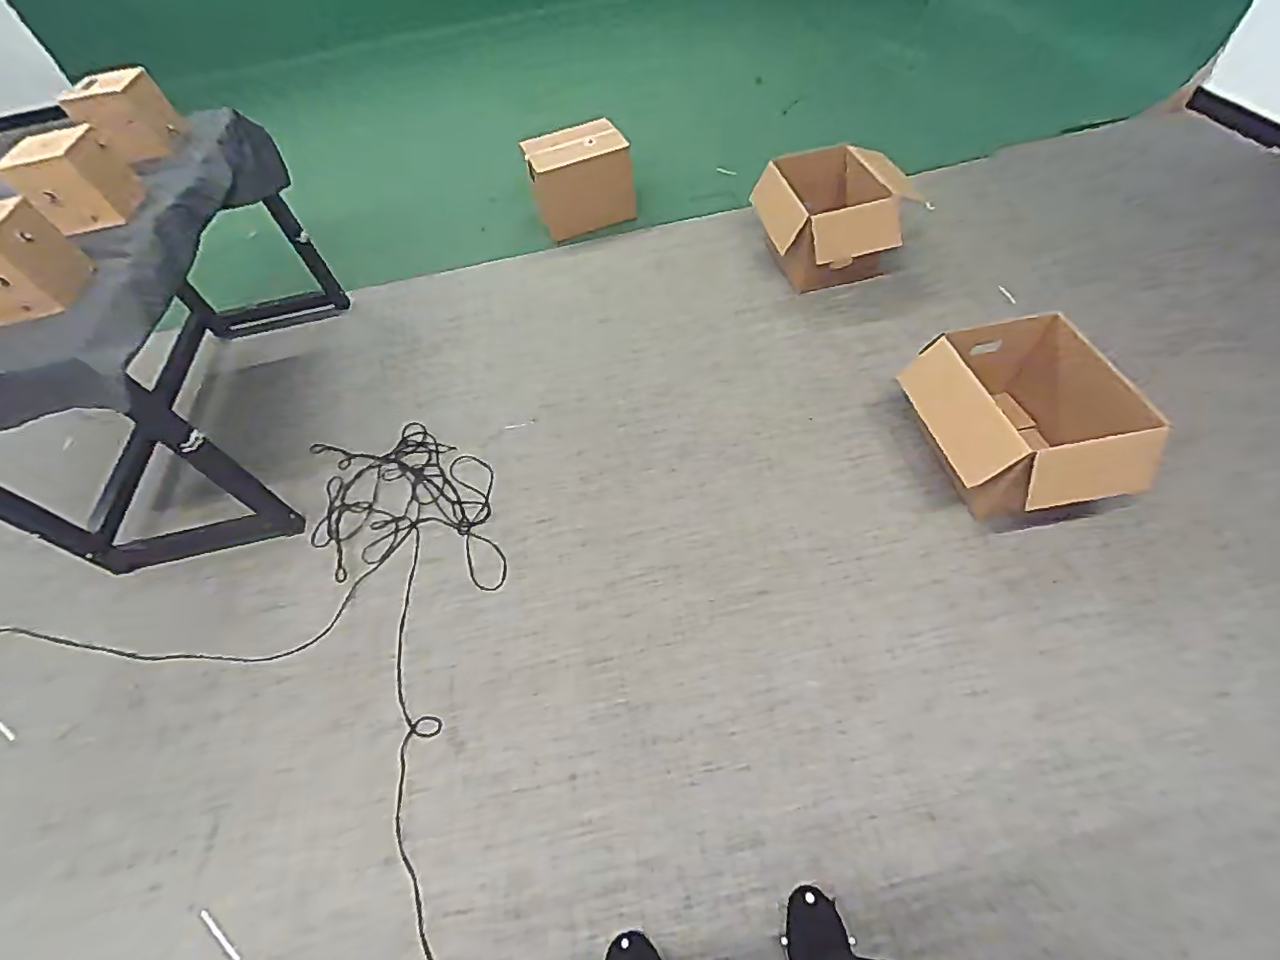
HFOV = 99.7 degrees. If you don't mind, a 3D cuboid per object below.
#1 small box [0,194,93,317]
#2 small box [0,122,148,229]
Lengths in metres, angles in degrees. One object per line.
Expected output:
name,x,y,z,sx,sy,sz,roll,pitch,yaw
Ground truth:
small box,-1.313,-0.456,1.121,0.168,0.176,0.179,-12,53,-3
small box,-1.377,-0.739,1.330,0.168,0.176,0.179,-12,54,-1
